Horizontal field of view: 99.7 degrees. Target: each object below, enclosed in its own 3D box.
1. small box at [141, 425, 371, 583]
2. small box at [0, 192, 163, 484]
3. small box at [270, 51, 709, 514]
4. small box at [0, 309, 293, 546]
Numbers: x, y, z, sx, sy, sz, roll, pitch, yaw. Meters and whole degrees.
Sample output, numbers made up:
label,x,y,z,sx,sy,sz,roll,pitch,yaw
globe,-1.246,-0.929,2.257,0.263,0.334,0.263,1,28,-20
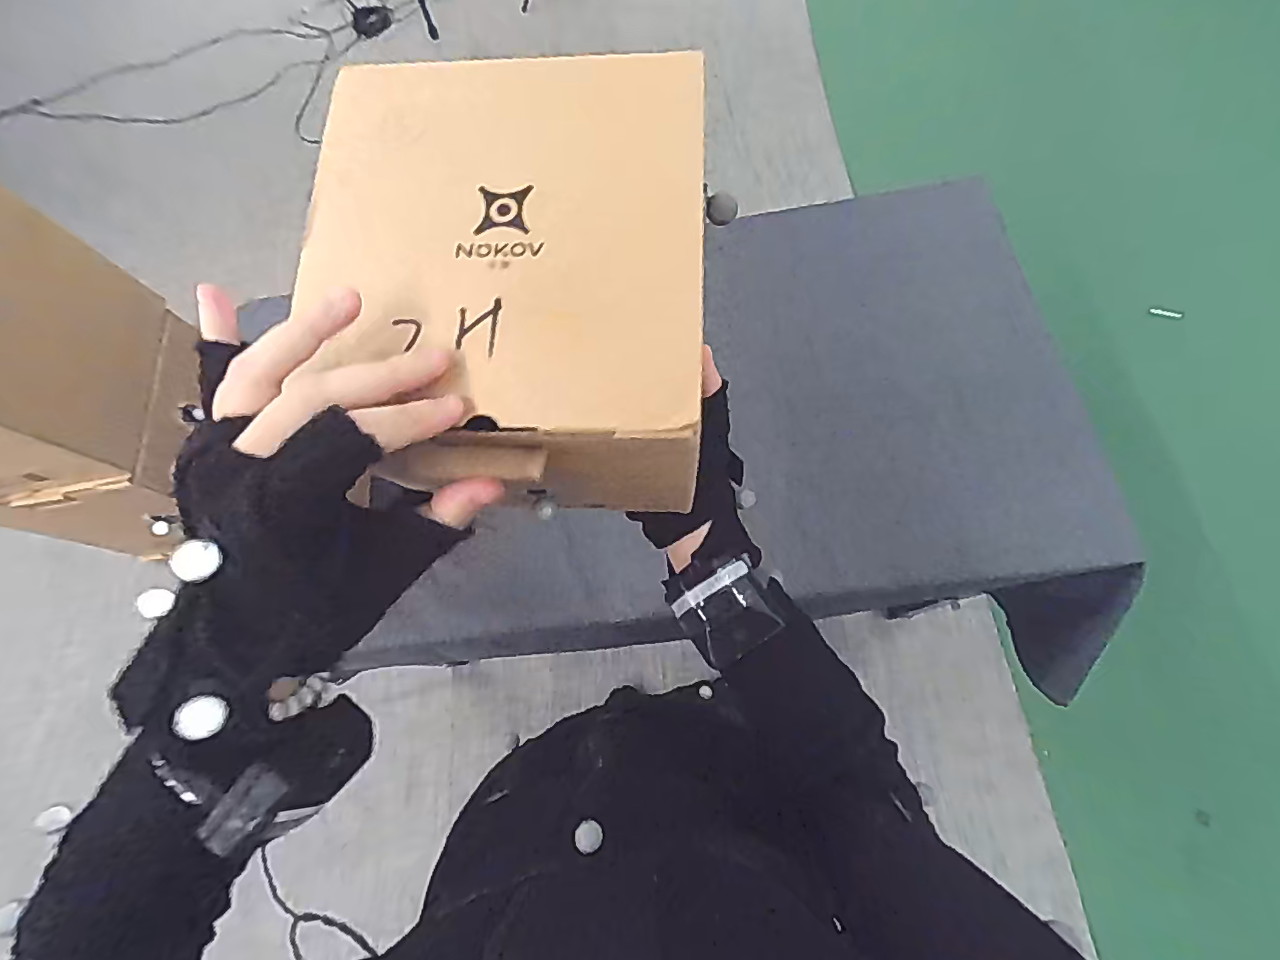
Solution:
label,x,y,z,sx,sy,sz,roll,pitch,yaw
small box,-0.469,0.023,0.694,0.168,0.176,0.179,-9,69,3
small box,-0.505,-0.102,0.394,0.168,0.176,0.179,-10,68,2
small box,-0.051,-0.084,0.297,0.168,0.176,0.179,1,78,5
small box,-0.486,-0.038,0.544,0.168,0.176,0.179,-8,69,3
